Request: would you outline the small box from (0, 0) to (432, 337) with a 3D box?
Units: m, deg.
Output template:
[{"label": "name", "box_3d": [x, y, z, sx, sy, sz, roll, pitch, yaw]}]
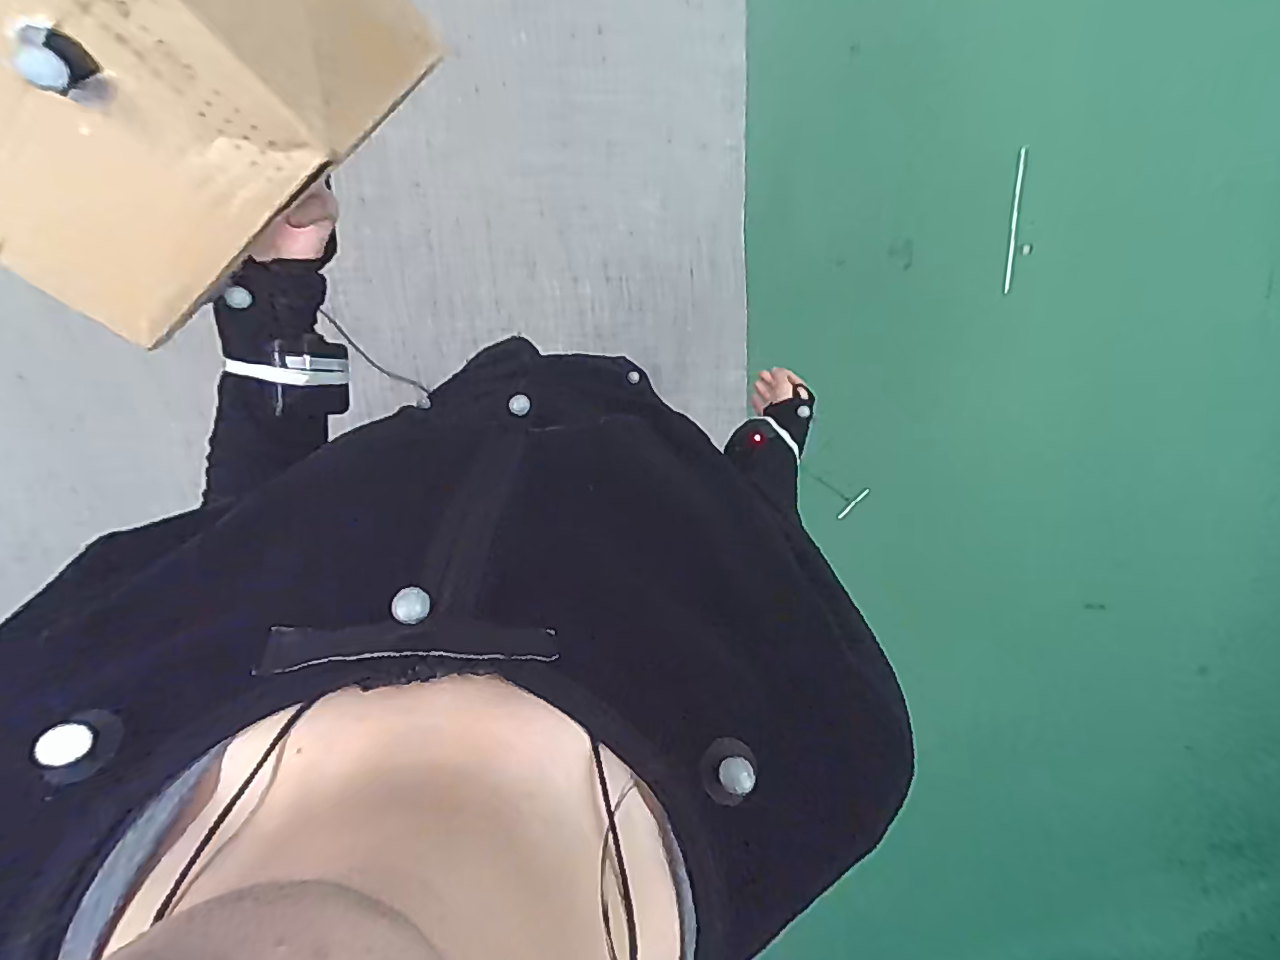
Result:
[{"label": "small box", "box_3d": [-0.225, -0.207, 0.244, 0.176, 0.179, 0.168, -24, 133, 26]}]
